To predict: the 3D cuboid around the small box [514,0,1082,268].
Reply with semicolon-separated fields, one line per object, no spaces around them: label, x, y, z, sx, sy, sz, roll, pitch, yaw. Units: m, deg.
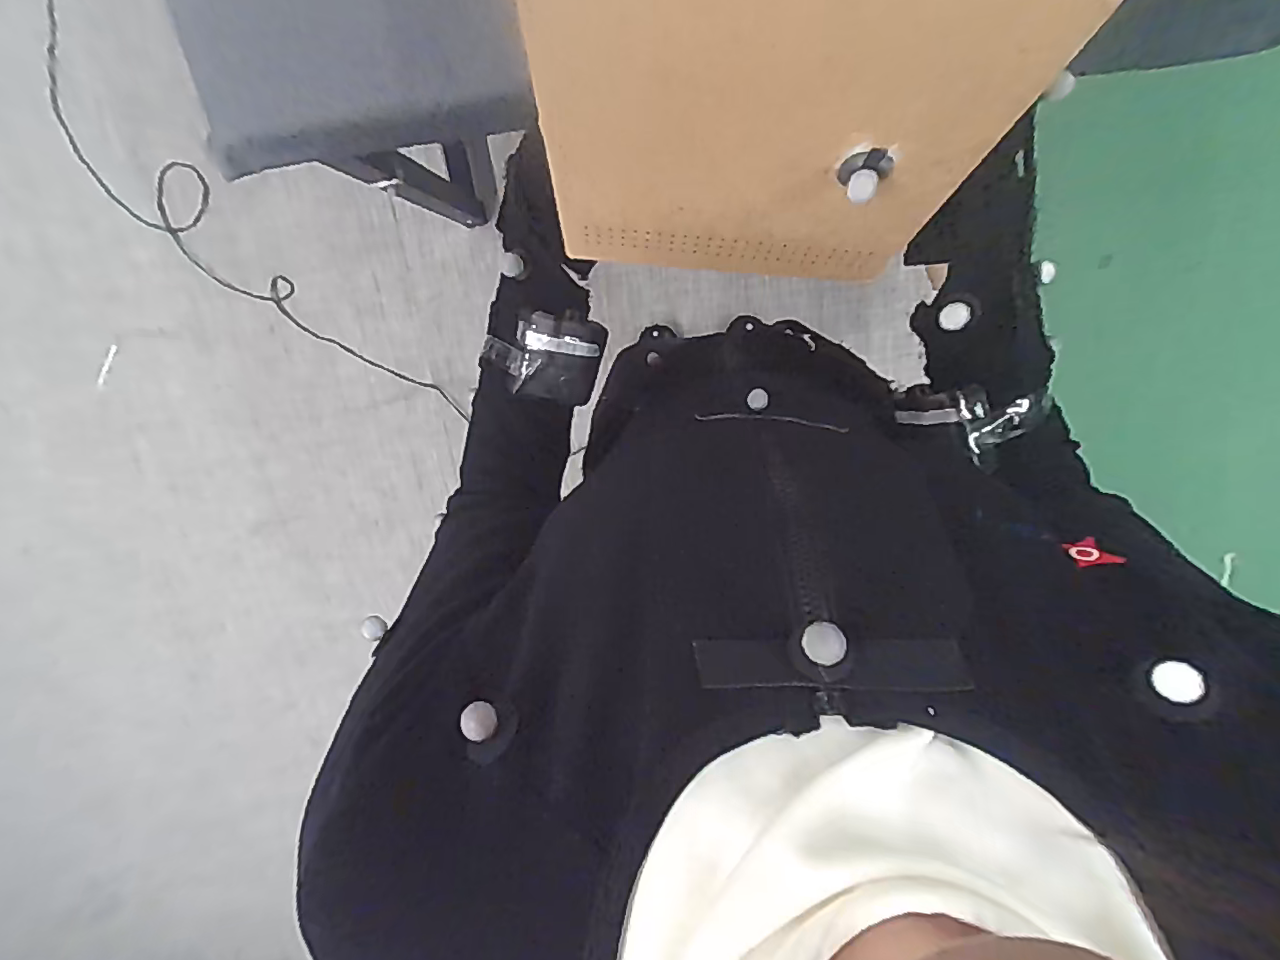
small box;0.049;-0.216;0.243;0.179;0.176;0.168;3;81;0
